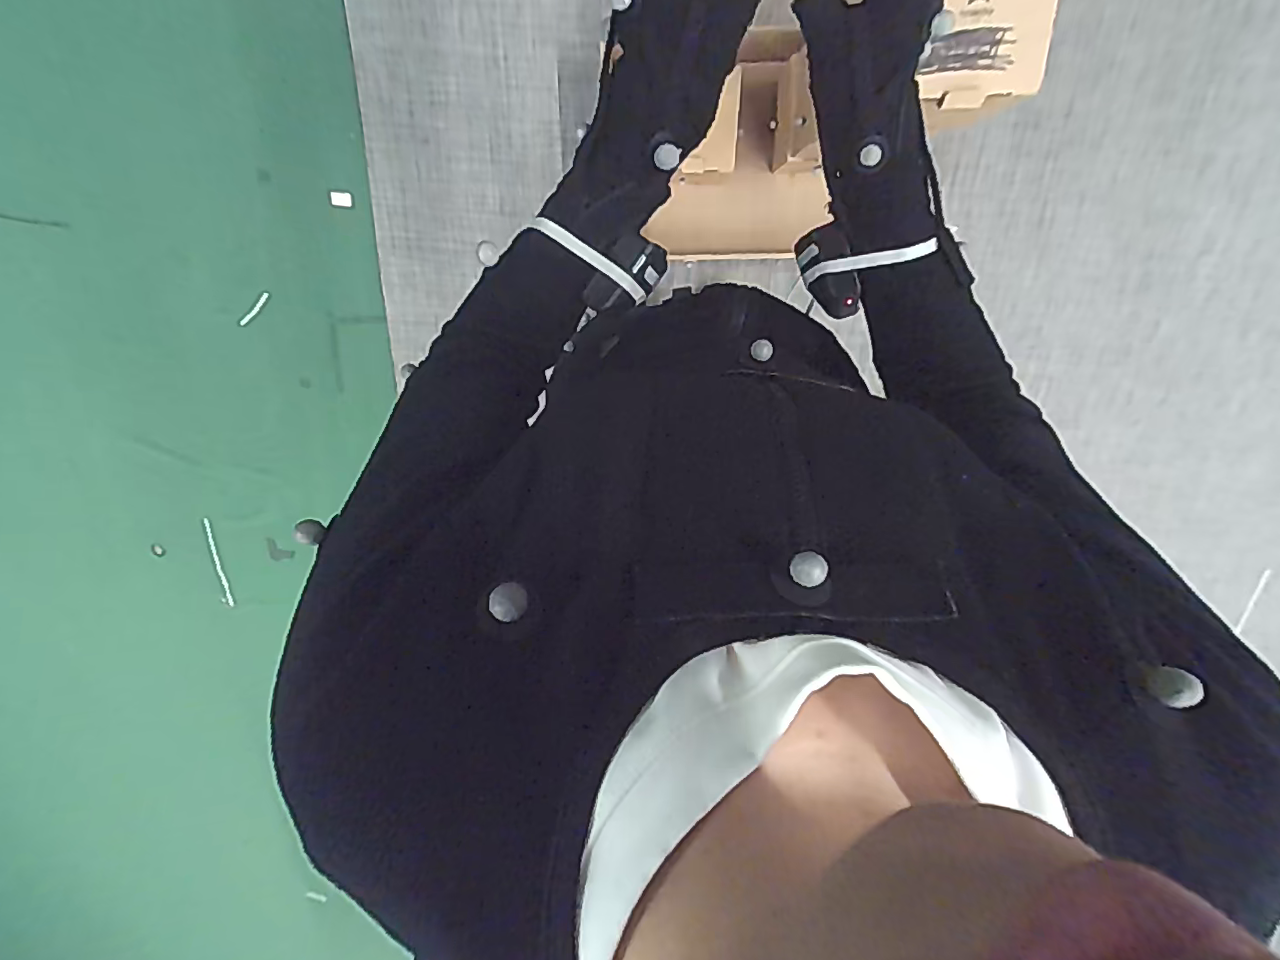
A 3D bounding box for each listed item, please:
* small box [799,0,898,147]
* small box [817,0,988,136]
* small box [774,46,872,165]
[{"bbox_3d":[0.373,-0.675,0.916,0.168,0.176,0.179,0,112,3],"label":"small box"},{"bbox_3d":[0.366,-0.612,0.783,0.168,0.176,0.179,1,112,1],"label":"small box"},{"bbox_3d":[0.367,-0.743,1.084,0.168,0.176,0.179,-3,112,5],"label":"small box"}]
